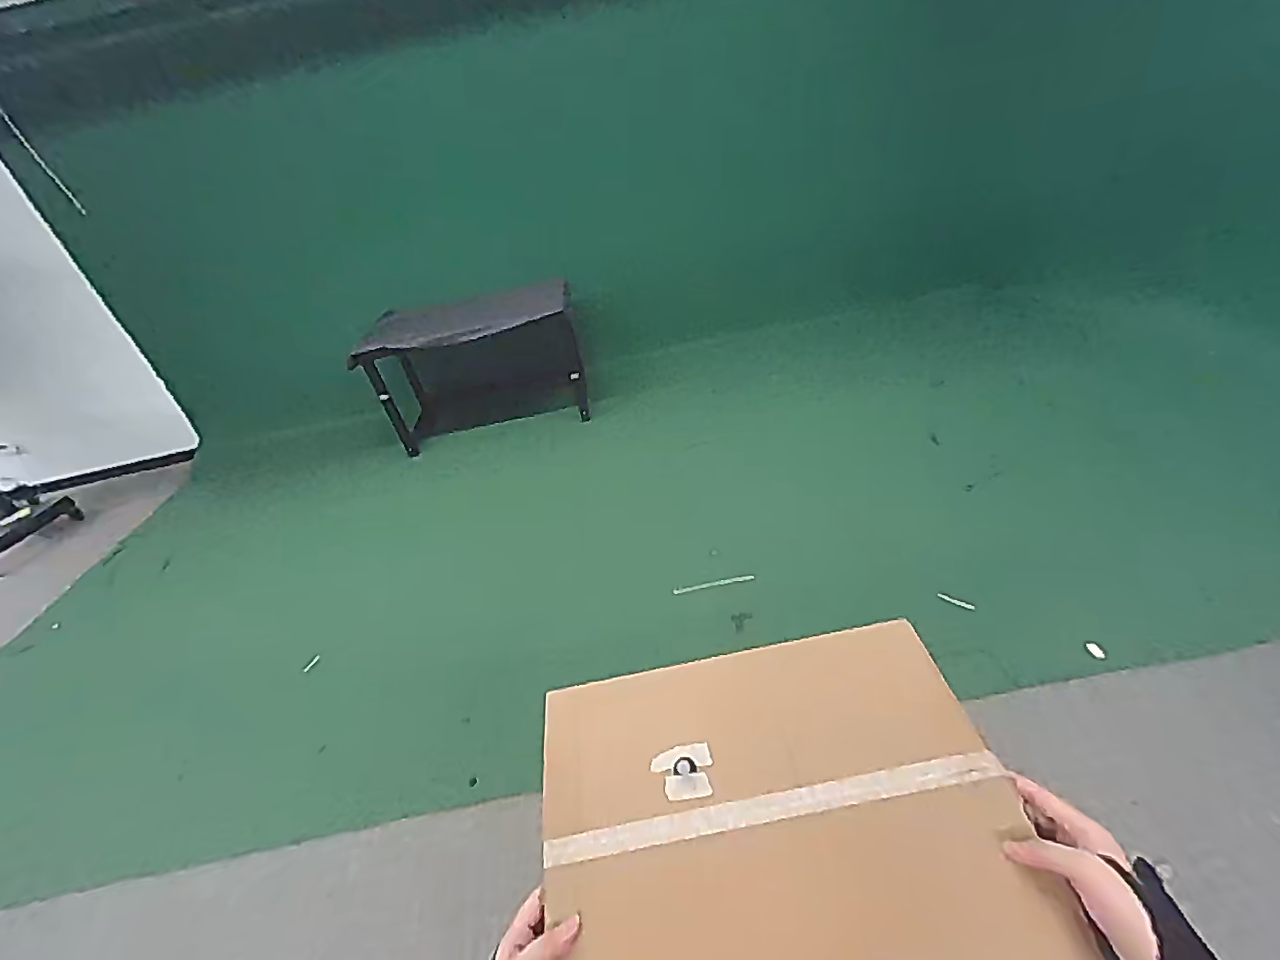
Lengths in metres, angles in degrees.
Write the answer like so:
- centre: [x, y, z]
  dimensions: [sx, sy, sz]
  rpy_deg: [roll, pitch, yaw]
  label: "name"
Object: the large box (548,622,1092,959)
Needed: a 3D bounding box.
- centre: [0.141, 0.408, 0.586]
  dimensions: [0.408, 0.320, 0.320]
  rpy_deg: [-14, 40, 2]
  label: "large box"
